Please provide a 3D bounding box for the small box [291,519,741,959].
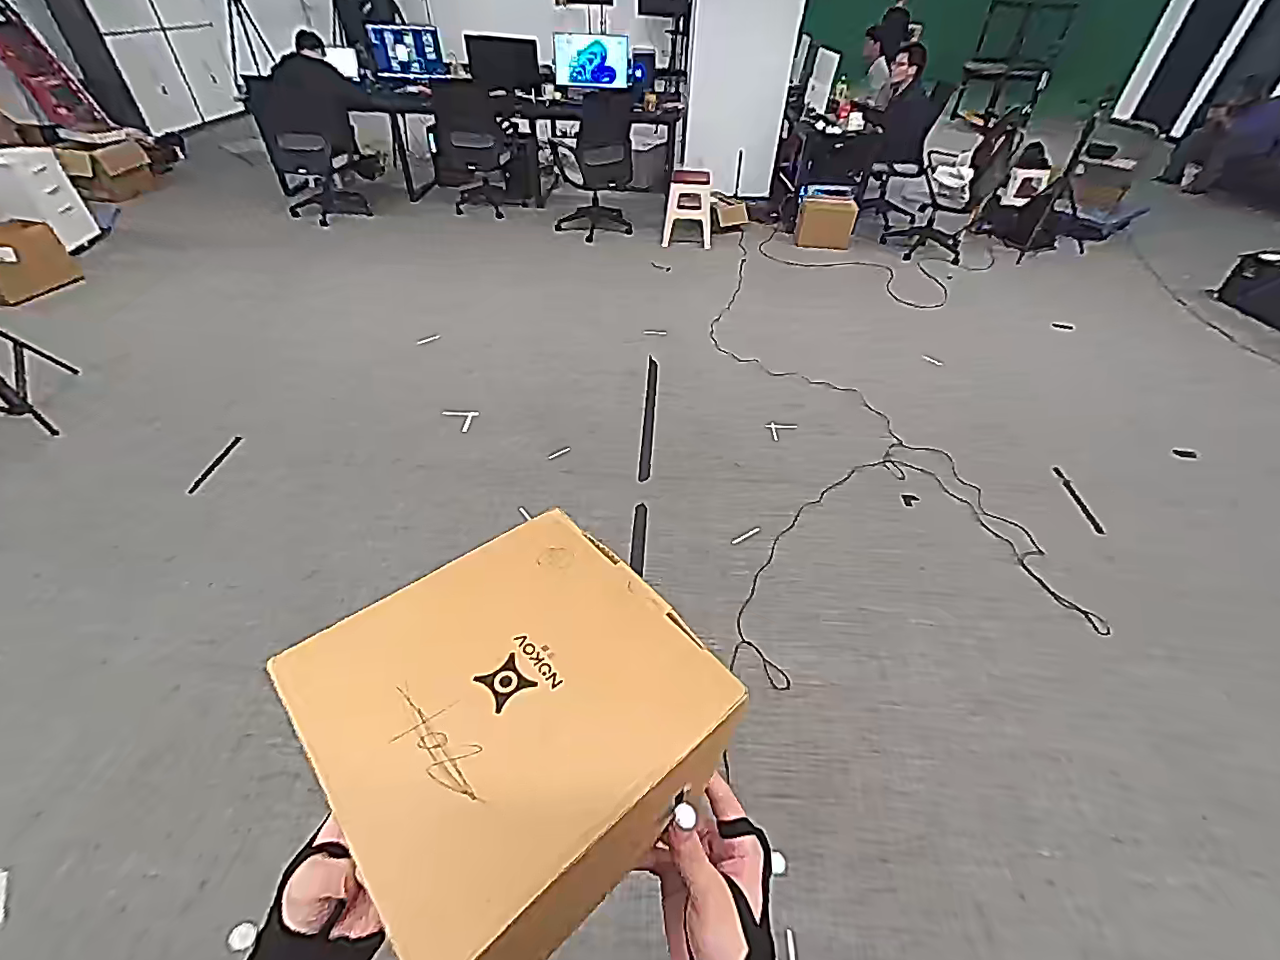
[{"bbox_3d":[-0.068,0.162,0.334,0.179,0.176,0.168,-30,53,-32],"label":"small box"}]
